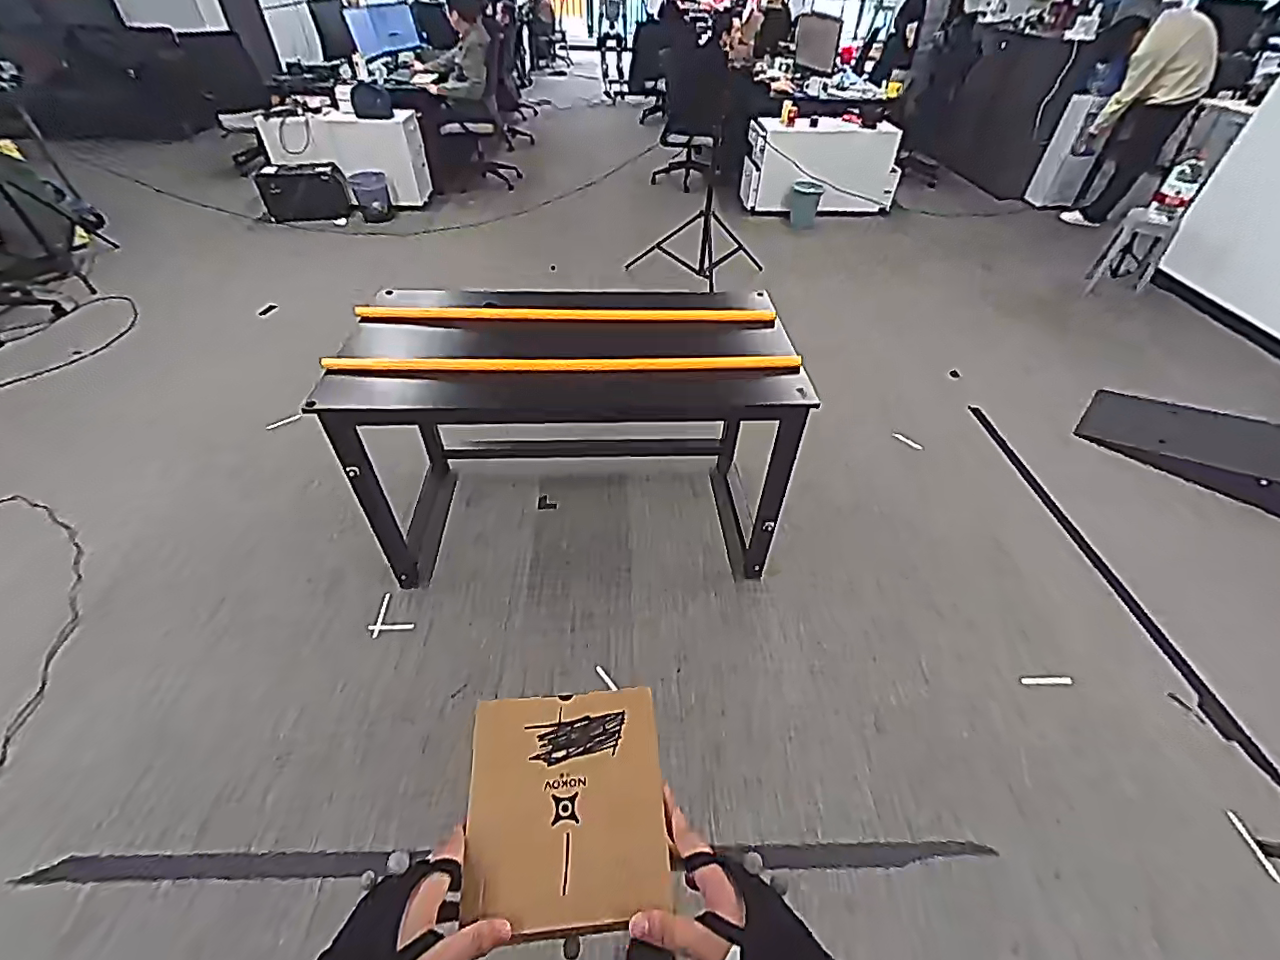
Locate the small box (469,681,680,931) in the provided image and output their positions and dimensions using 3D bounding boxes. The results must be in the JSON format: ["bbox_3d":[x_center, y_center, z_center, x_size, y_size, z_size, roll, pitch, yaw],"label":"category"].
[{"bbox_3d":[-0.058,0.319,0.530,0.168,0.176,0.179,-4,49,-4],"label":"small box"}]
